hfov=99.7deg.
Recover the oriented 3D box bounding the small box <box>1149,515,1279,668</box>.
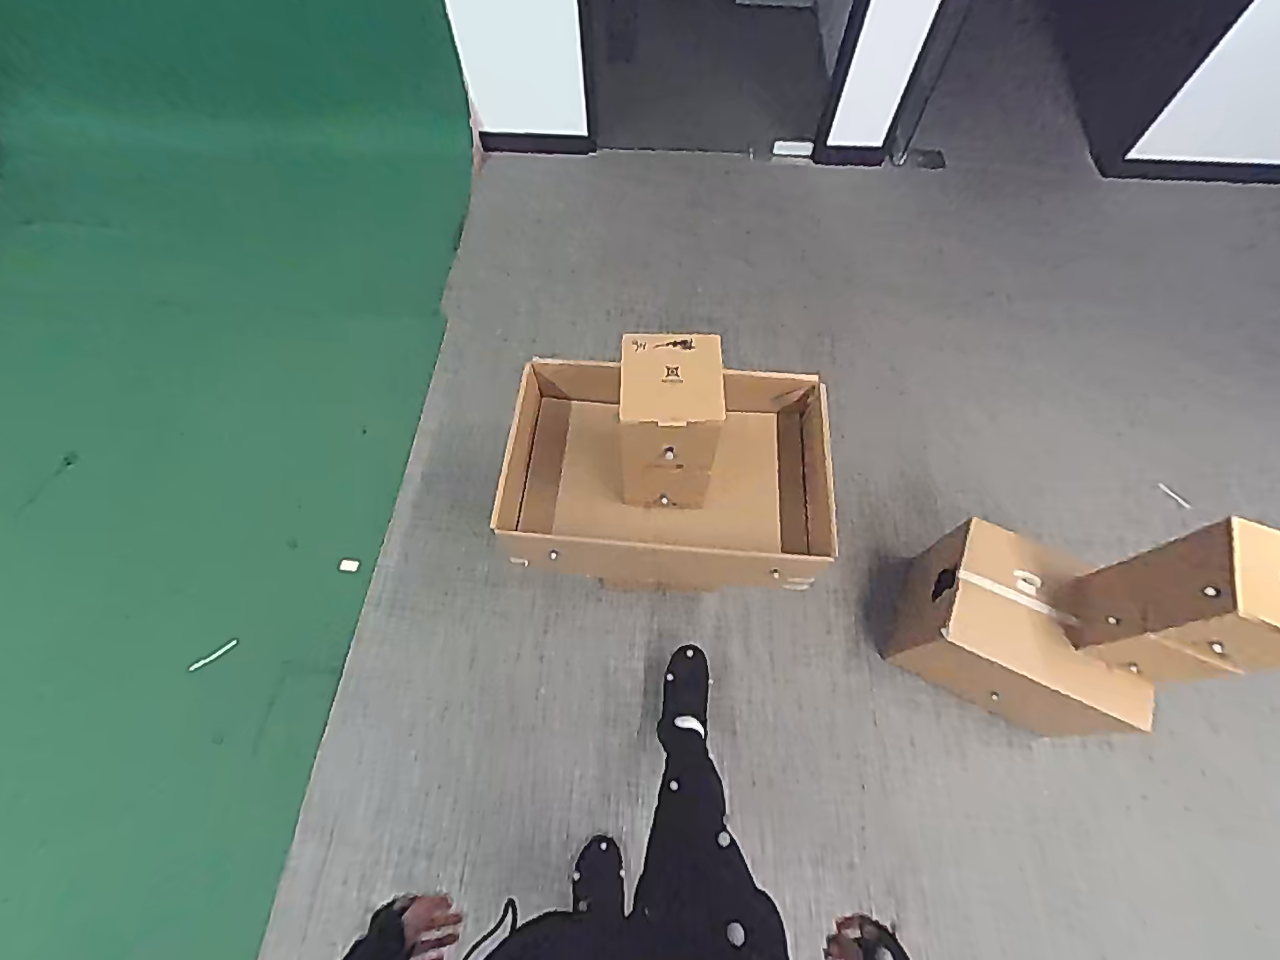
[{"bbox_3d":[1.002,0.190,0.901,0.168,0.176,0.179,21,65,10],"label":"small box"}]

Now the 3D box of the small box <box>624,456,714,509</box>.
[{"bbox_3d":[0.057,-0.059,1.084,0.168,0.176,0.179,3,64,2],"label":"small box"}]

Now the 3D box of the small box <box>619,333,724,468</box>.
[{"bbox_3d":[0.053,-0.131,0.936,0.168,0.176,0.179,1,65,0],"label":"small box"}]
